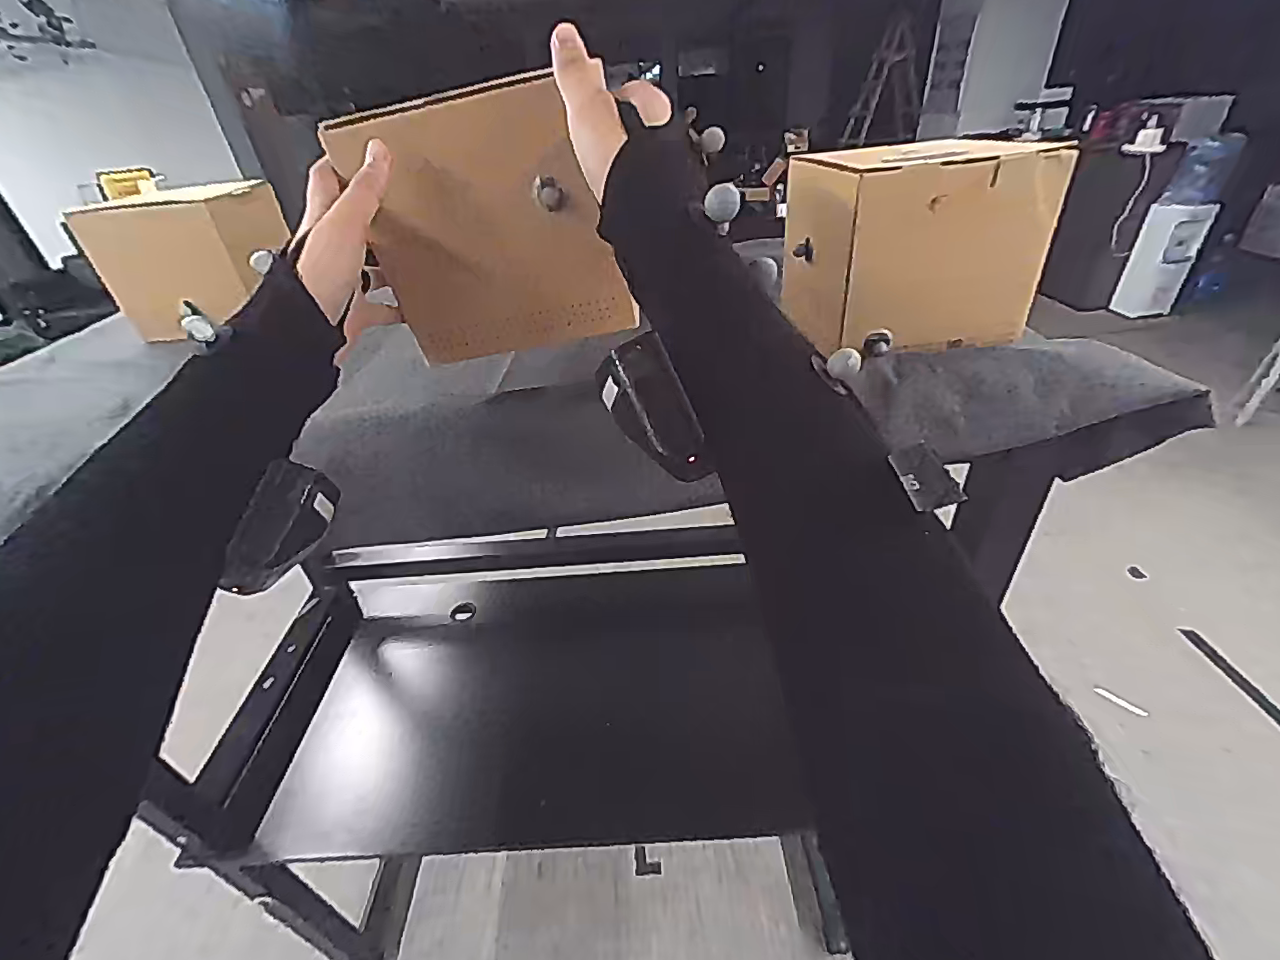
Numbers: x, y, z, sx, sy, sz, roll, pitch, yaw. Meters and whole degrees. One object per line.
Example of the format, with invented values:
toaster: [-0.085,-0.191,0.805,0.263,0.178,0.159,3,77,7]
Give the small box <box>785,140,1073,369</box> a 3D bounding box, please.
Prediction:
small box: [0.244,-0.211,0.512,0.168,0.176,0.179,-6,34,-1]

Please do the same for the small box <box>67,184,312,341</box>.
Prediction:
small box: [-0.606,-0.308,0.763,0.179,0.176,0.168,-5,35,-1]
